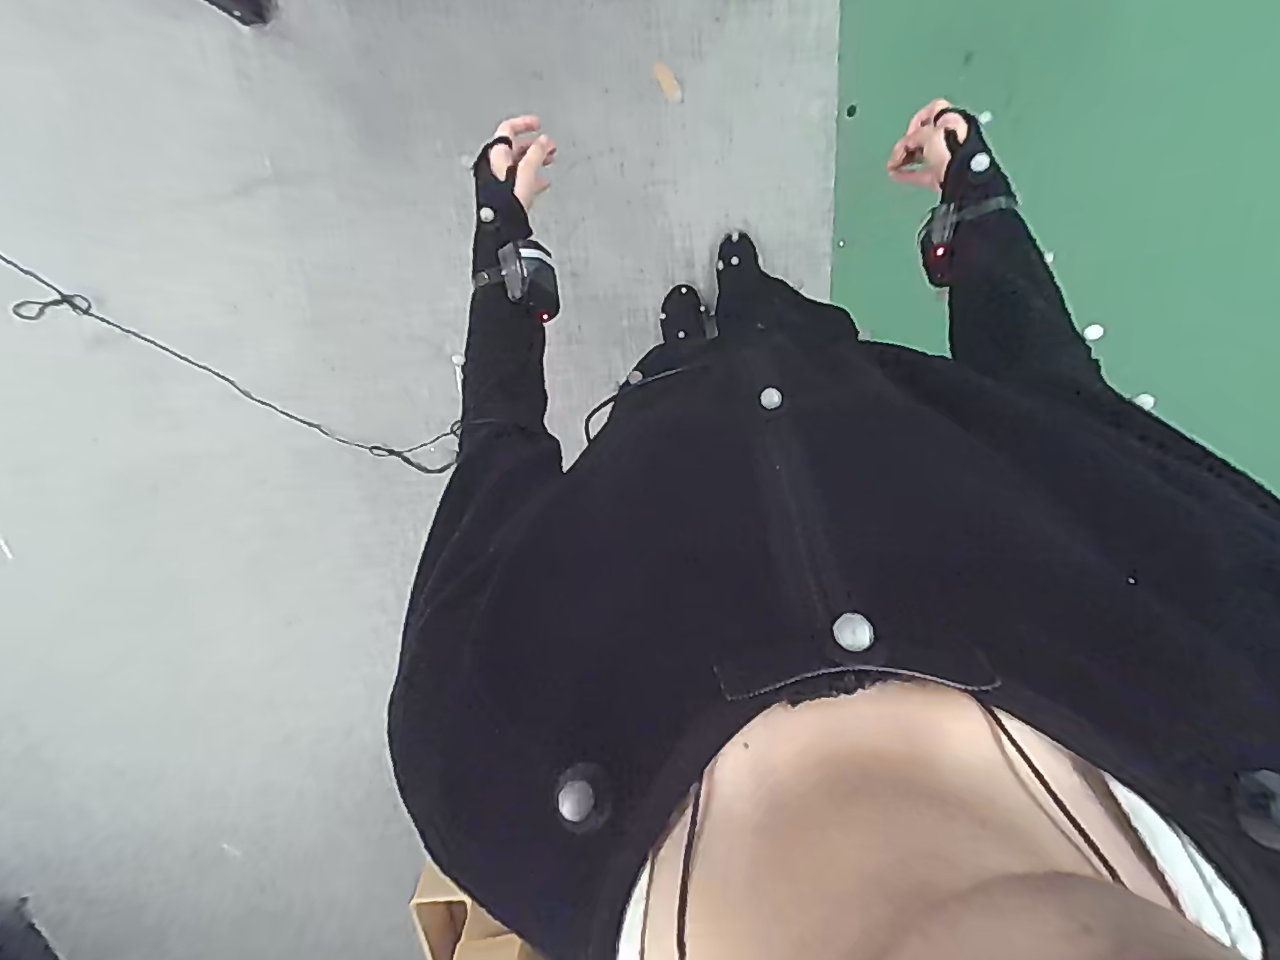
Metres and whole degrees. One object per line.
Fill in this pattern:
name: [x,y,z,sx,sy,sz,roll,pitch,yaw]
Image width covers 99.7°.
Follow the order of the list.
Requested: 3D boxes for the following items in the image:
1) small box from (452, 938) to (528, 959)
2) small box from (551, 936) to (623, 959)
small box: [-0.373,1.255,1.303,0.179,0.176,0.168,-12,111,3]
small box: [-0.119,1.258,1.305,0.168,0.176,0.179,-20,108,6]
